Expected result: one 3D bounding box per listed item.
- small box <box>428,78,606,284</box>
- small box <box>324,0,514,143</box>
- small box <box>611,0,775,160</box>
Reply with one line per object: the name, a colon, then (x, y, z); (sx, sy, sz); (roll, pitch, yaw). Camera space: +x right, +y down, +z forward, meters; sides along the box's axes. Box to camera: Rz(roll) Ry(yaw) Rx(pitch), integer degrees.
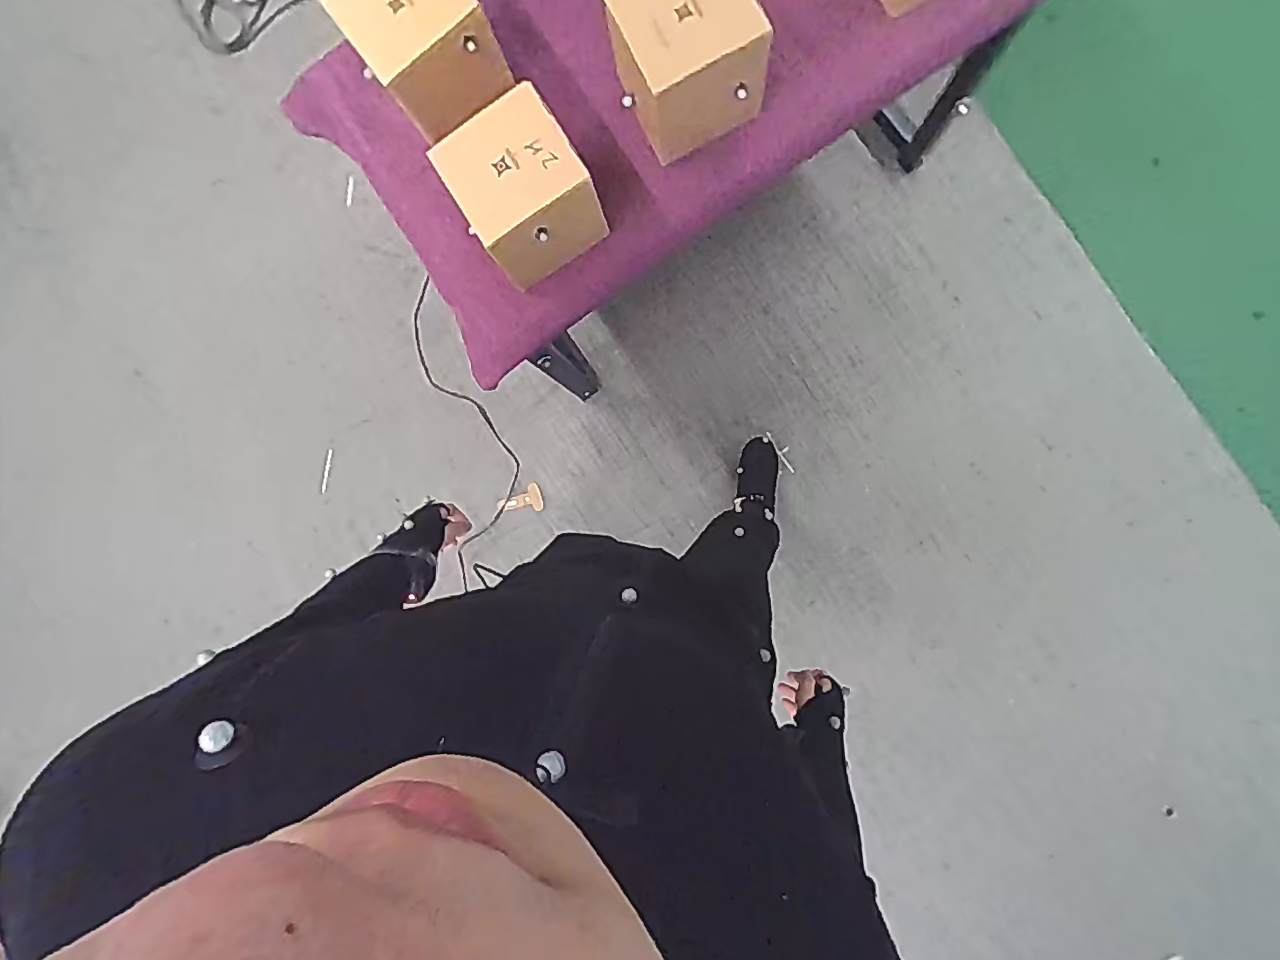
small box: (-0.170, -0.427, 0.808); (0.179, 0.176, 0.168); (-31, 86, 4)
small box: (-0.324, -0.666, 0.825); (0.179, 0.176, 0.168); (-37, 87, 3)
small box: (0.073, -0.619, 0.788); (0.179, 0.176, 0.168); (-25, 87, 6)
